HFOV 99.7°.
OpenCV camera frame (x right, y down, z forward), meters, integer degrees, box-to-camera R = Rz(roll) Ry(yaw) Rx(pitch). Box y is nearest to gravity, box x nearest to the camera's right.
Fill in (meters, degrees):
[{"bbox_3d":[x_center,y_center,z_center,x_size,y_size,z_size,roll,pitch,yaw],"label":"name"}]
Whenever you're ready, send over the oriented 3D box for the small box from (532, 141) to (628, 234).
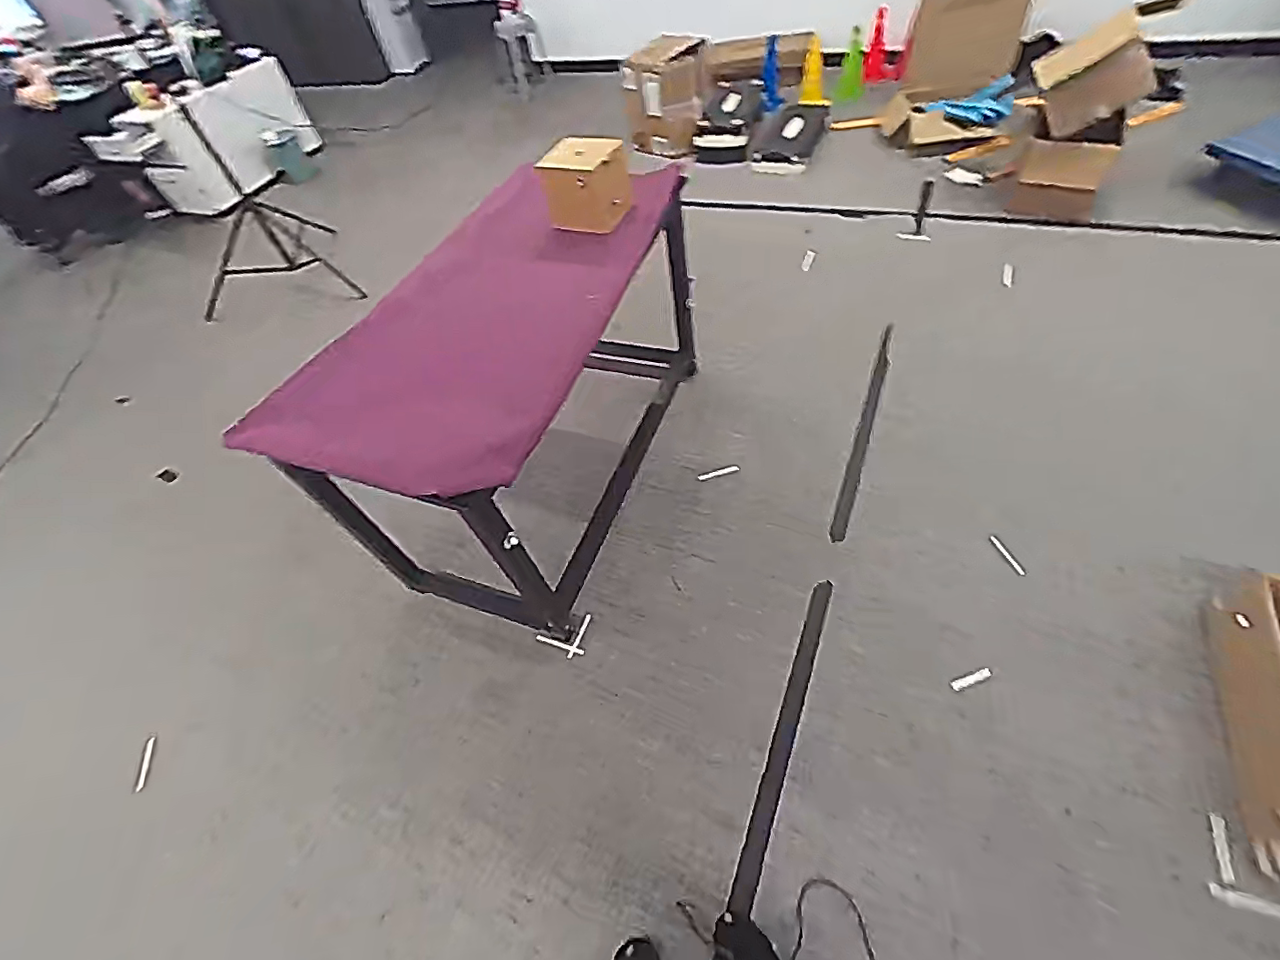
[{"bbox_3d":[-0.154,-0.781,1.447,0.179,0.176,0.168,17,58,22],"label":"small box"}]
